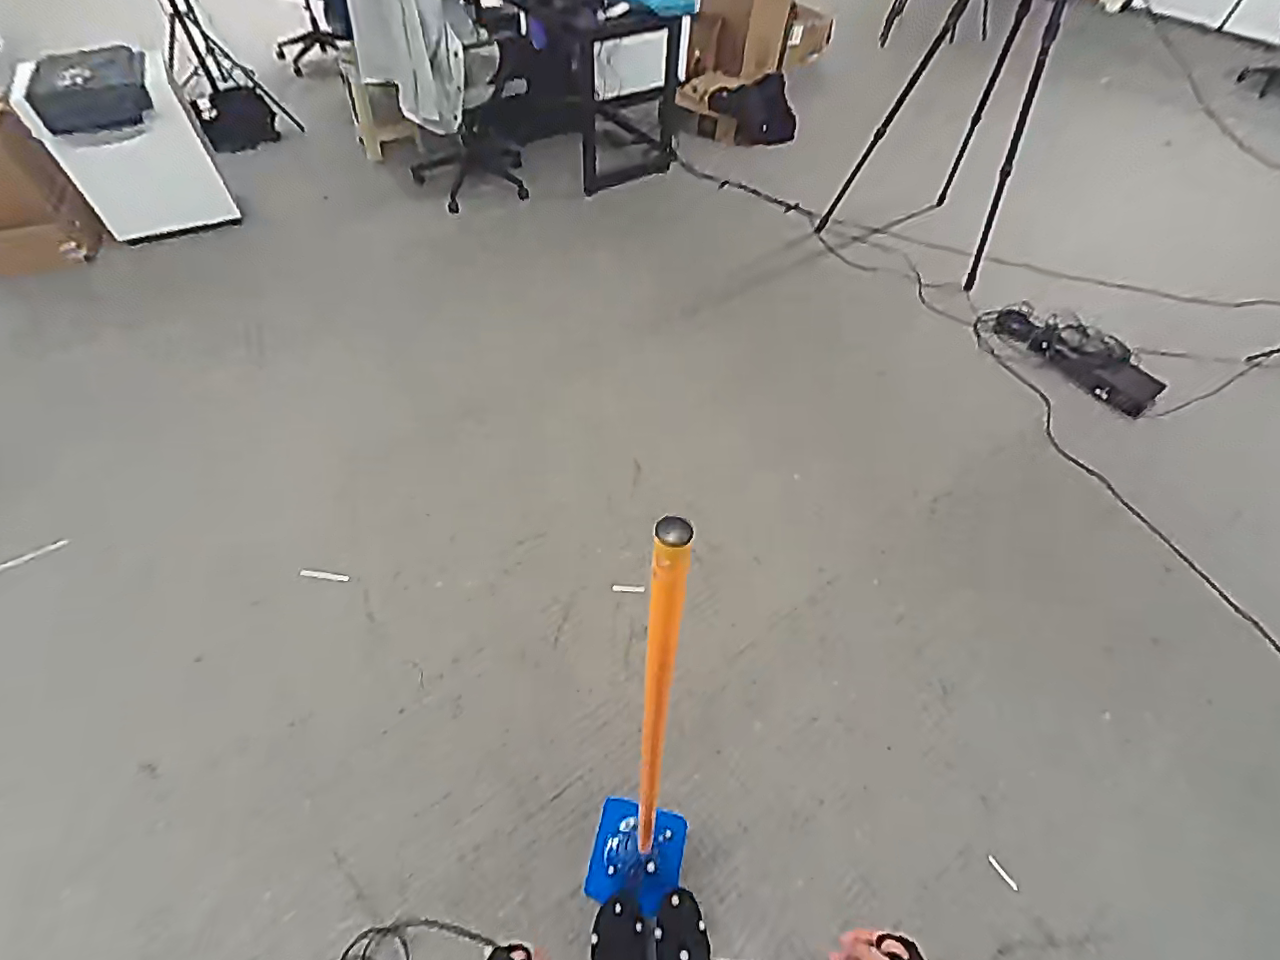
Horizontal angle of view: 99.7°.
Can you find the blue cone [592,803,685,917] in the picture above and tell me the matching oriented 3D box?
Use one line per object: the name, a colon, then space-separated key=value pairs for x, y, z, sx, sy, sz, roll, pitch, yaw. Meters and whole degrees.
blue cone: x=0.006 y=0.728 z=1.059 sx=0.192 sy=0.380 sz=0.193 roll=12 pitch=52 yaw=5
